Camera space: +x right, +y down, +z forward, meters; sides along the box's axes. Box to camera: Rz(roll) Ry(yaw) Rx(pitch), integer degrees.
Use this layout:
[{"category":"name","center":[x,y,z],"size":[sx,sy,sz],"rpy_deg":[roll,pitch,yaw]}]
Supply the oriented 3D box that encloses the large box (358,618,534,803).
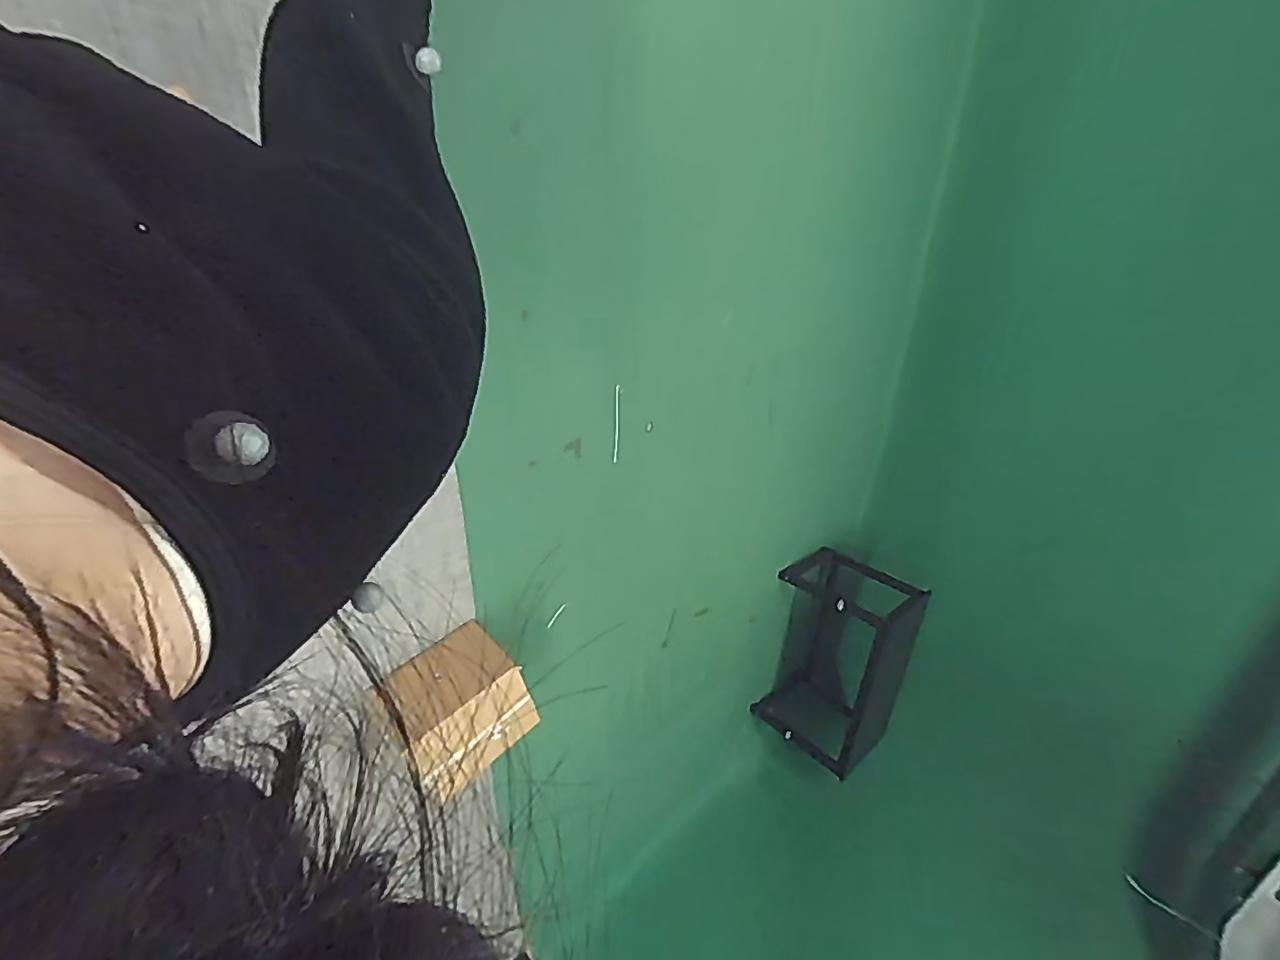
[{"category":"large box","center":[-0.637,0.750,1.805],"size":[0.408,0.320,0.320],"rpy_deg":[-34,132,-32]}]
